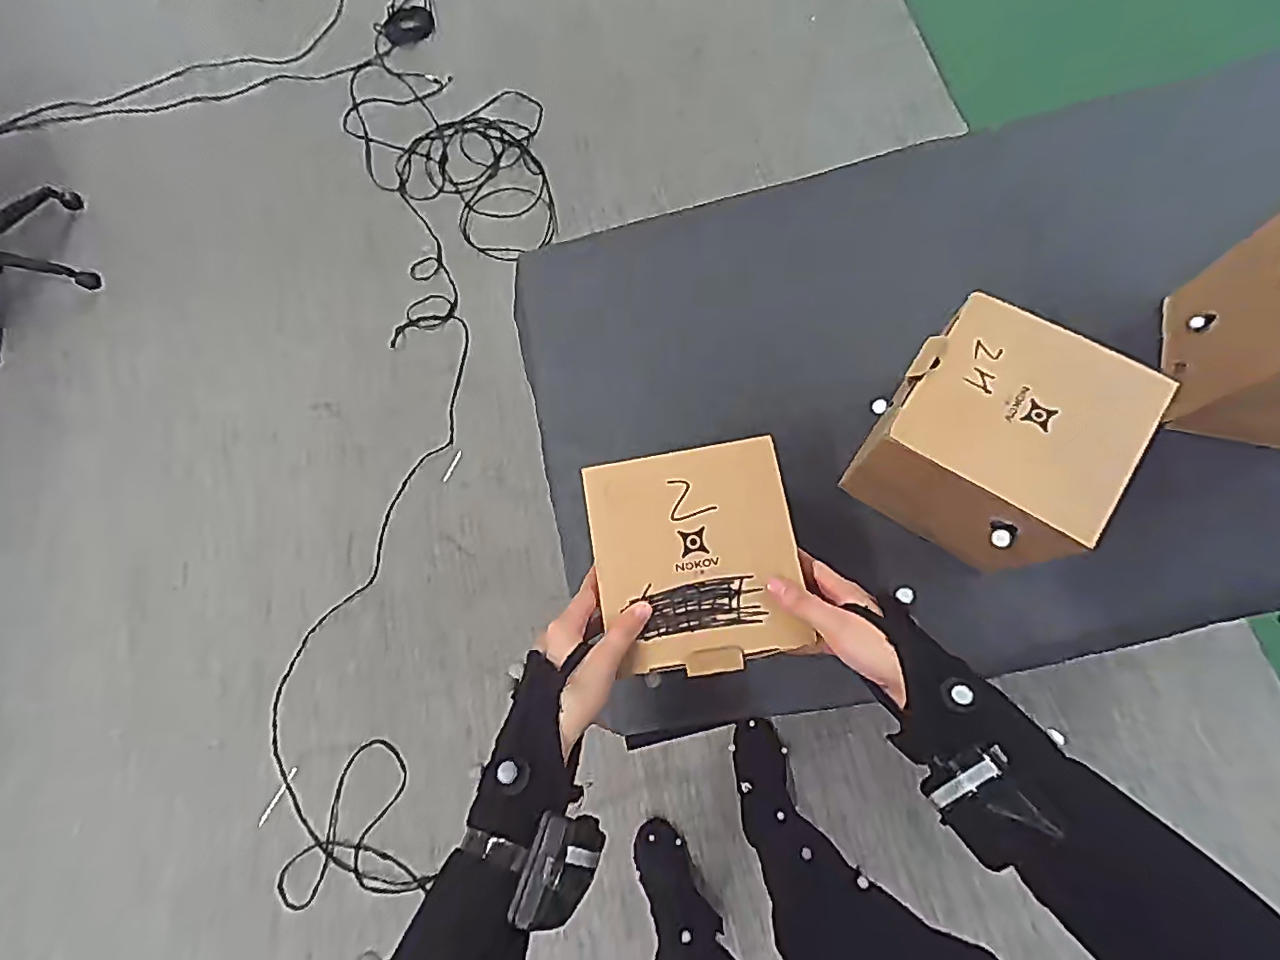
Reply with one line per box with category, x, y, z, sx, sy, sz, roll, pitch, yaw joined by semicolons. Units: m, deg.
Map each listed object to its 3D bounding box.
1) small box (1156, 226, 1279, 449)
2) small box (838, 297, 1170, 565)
small box;0.653;-0.135;0.513;0.179;0.176;0.168;13;76;11
small box;0.324;-0.033;0.523;0.179;0.176;0.168;33;80;15
